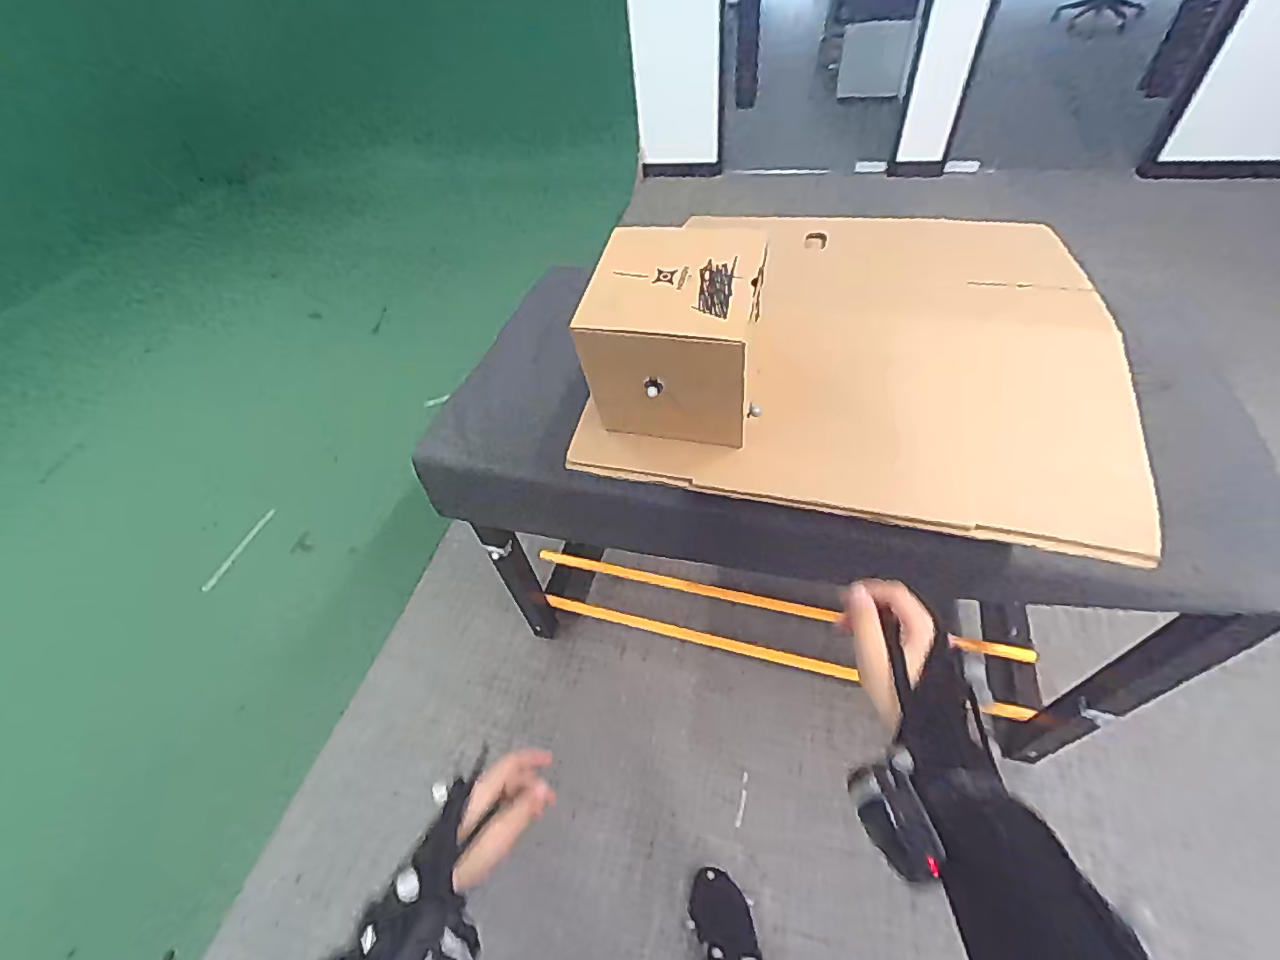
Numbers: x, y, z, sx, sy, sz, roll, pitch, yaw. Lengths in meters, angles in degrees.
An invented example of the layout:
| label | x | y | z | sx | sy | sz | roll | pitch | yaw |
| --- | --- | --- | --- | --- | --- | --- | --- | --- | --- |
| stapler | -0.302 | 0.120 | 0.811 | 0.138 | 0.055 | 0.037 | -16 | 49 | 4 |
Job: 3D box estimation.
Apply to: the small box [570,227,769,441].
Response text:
| label | x | y | z | sx | sy | sz | roll | pitch | yaw |
| --- | --- | --- | --- | --- | --- | --- | --- | --- | --- |
| small box | 0.045 | -0.162 | 0.621 | 0.179 | 0.176 | 0.168 | 8 | 60 | 16 |
